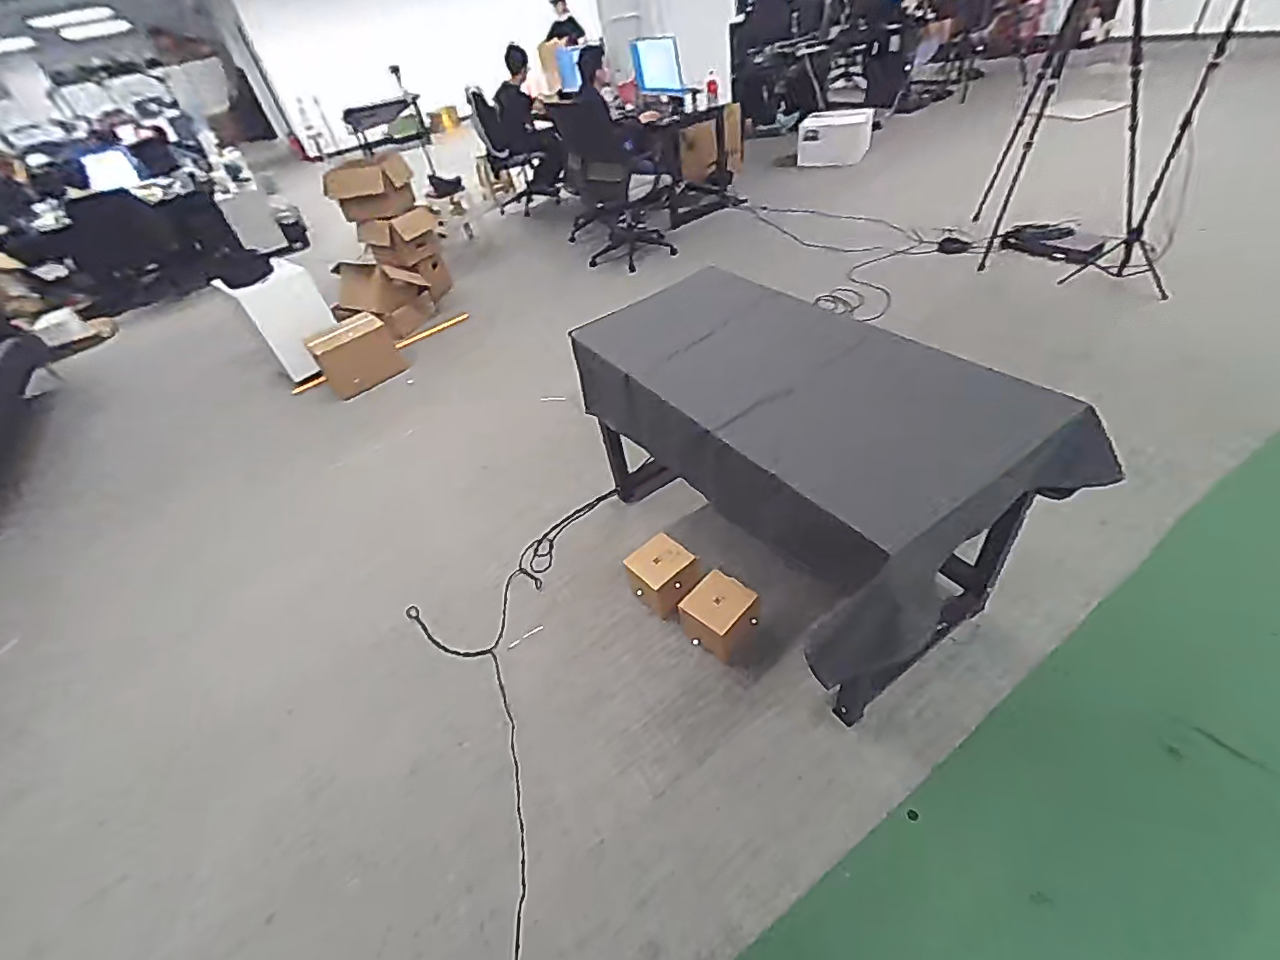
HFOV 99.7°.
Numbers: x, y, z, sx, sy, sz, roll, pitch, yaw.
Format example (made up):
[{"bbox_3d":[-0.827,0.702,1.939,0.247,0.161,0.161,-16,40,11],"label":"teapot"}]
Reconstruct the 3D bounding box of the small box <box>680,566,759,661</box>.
[{"bbox_3d":[0.238,0.400,1.615,0.168,0.176,0.179,29,56,37],"label":"small box"}]
